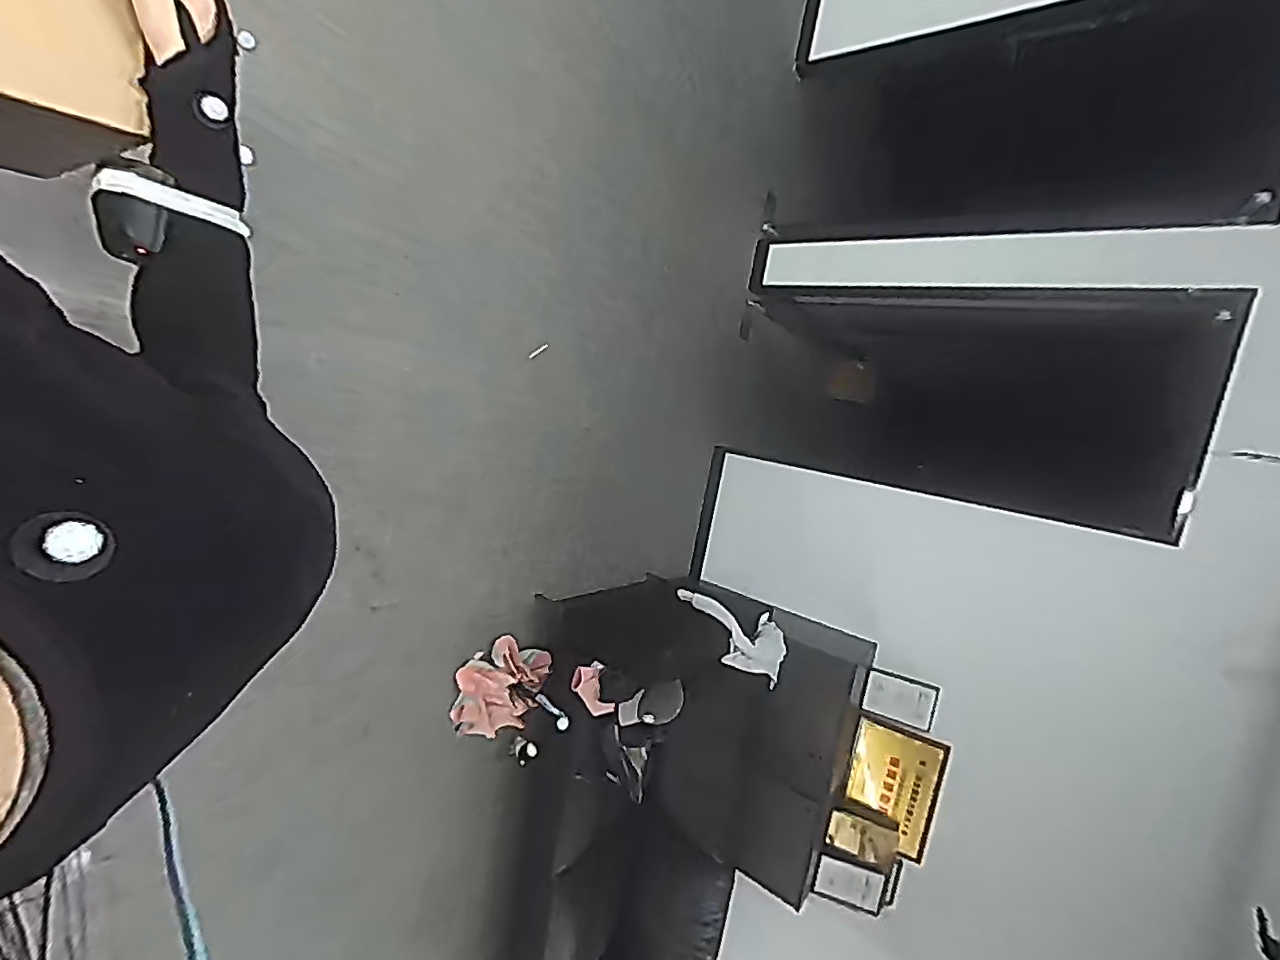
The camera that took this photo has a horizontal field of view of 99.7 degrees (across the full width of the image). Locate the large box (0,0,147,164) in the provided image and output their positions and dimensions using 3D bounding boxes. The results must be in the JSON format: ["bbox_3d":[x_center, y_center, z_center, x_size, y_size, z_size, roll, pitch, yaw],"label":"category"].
[{"bbox_3d":[-0.594,-0.411,0.295,0.408,0.320,0.320,-14,113,-55],"label":"large box"}]
